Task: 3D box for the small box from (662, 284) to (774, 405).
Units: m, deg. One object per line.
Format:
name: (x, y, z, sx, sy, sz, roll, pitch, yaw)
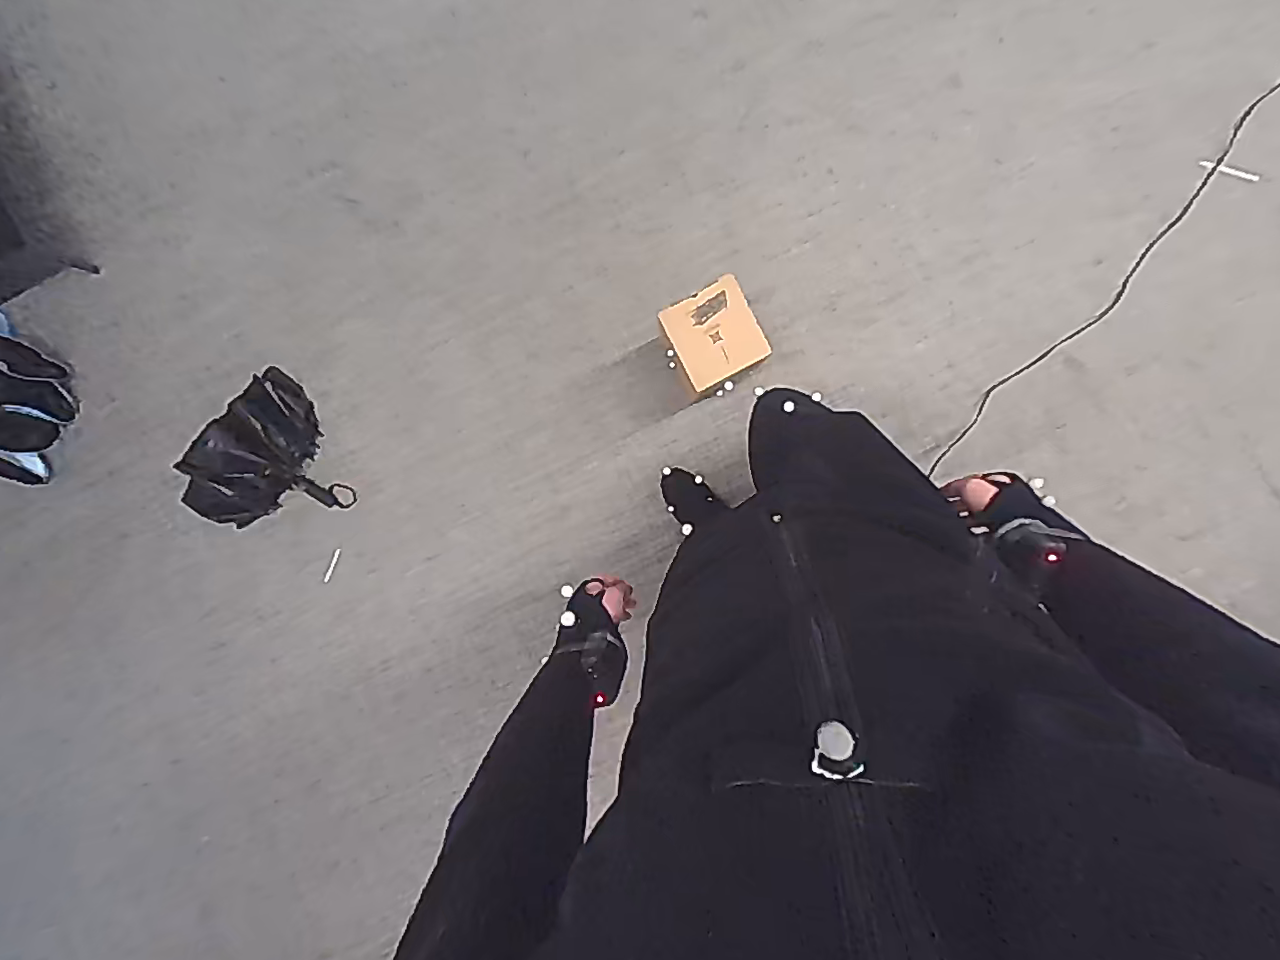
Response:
small box: (0.155, -0.271, 1.128, 0.168, 0.176, 0.179, -27, 91, 5)
